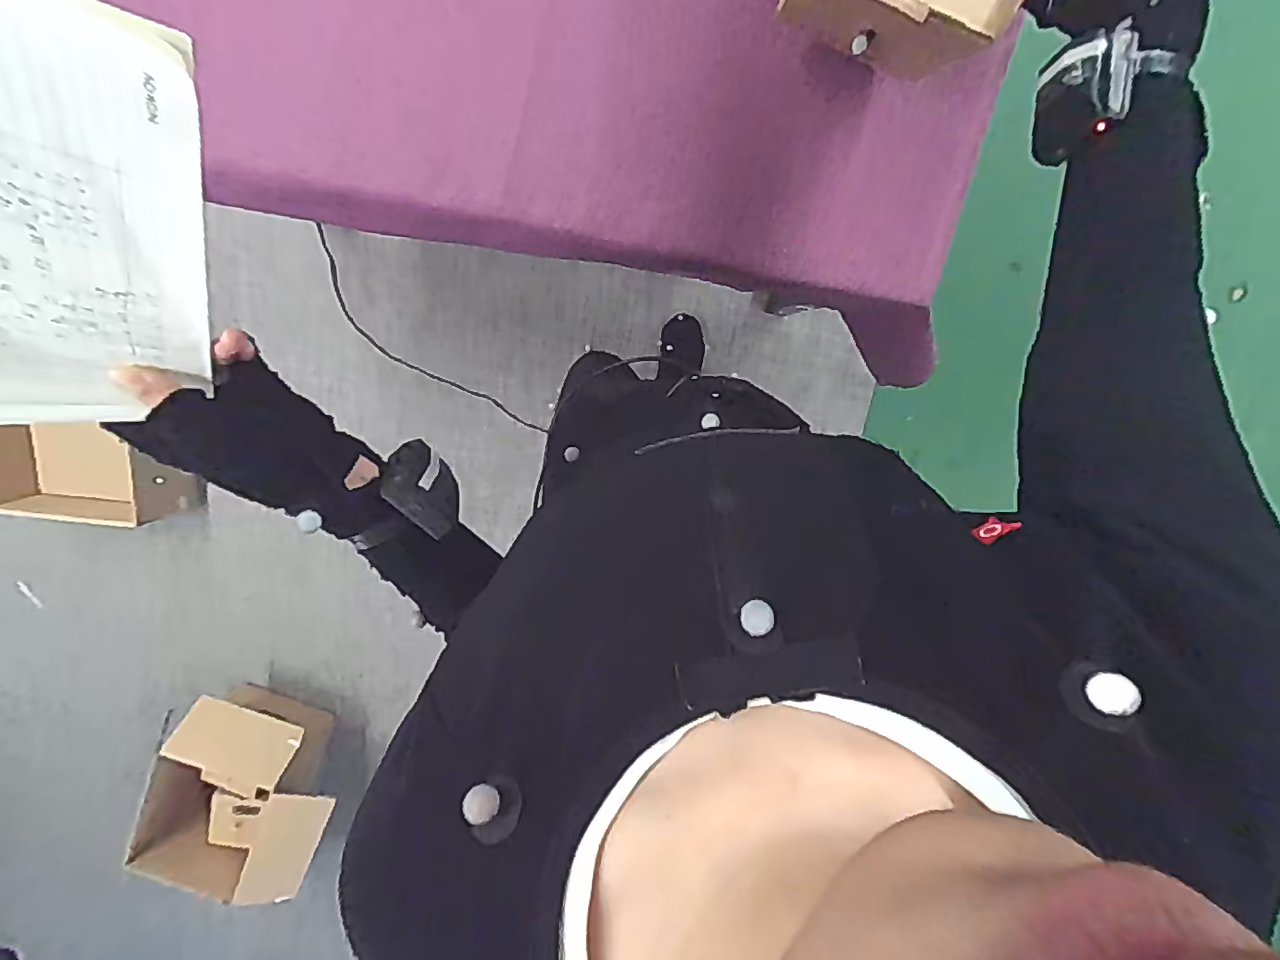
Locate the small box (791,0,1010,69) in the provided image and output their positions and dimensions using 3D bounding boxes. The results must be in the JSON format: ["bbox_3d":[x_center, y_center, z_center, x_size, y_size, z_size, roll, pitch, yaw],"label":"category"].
[{"bbox_3d":[0.238,-0.483,0.451,0.168,0.176,0.179,20,118,-6],"label":"small box"}]
